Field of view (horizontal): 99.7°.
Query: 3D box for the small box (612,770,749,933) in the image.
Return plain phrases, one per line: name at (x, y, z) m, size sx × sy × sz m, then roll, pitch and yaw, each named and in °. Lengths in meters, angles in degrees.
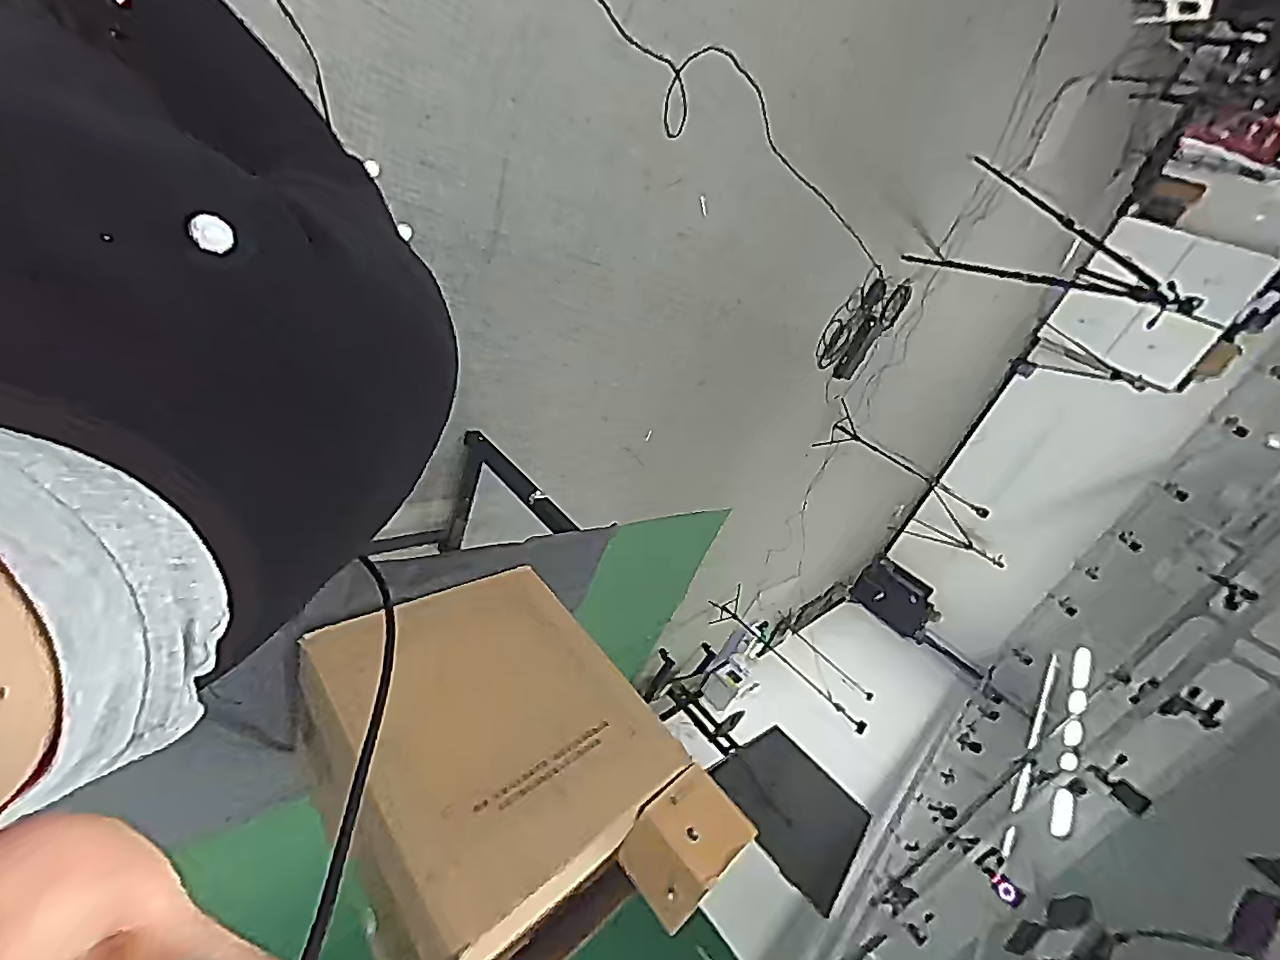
small box at (0.070, 0.698, 1.040) m, size 0.168 × 0.176 × 0.179 m, roll -12°, pitch 133°, yaw -46°
